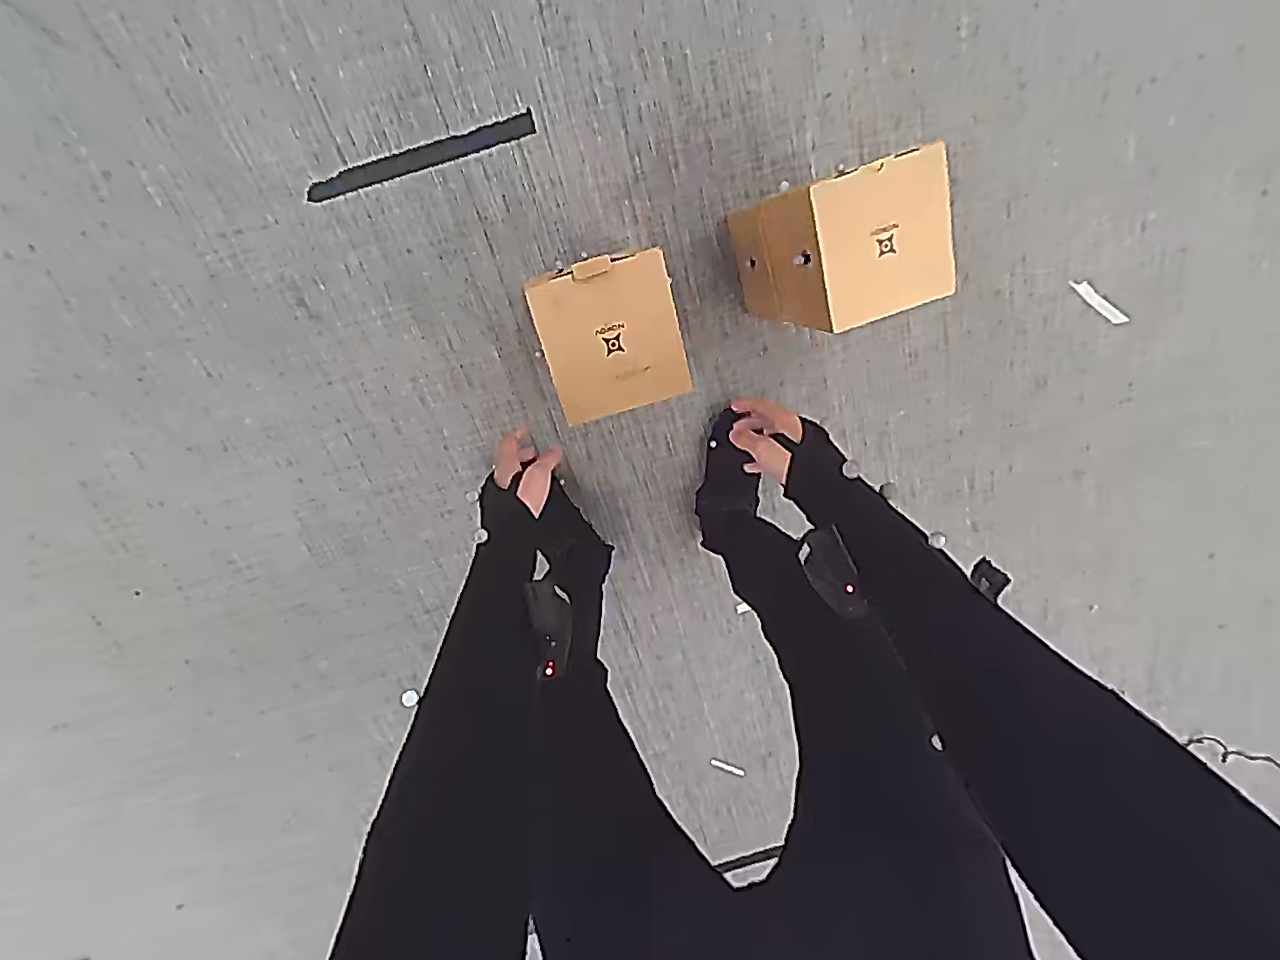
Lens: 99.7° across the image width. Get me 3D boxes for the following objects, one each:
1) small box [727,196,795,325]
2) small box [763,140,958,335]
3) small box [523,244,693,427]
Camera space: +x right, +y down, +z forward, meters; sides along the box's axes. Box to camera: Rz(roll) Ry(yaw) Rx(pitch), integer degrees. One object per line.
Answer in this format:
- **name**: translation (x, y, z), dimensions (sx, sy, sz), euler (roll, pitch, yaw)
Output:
- **small box**: translation (0.253, -0.363, 0.855), dimensions (0.168, 0.176, 0.179), euler (-20, 112, -1)
- **small box**: translation (0.279, -0.306, 0.705), dimensions (0.168, 0.176, 0.179), euler (-19, 112, -1)
- **small box**: translation (-0.044, -0.189, 0.699), dimensions (0.168, 0.176, 0.179), euler (-16, 112, -1)
